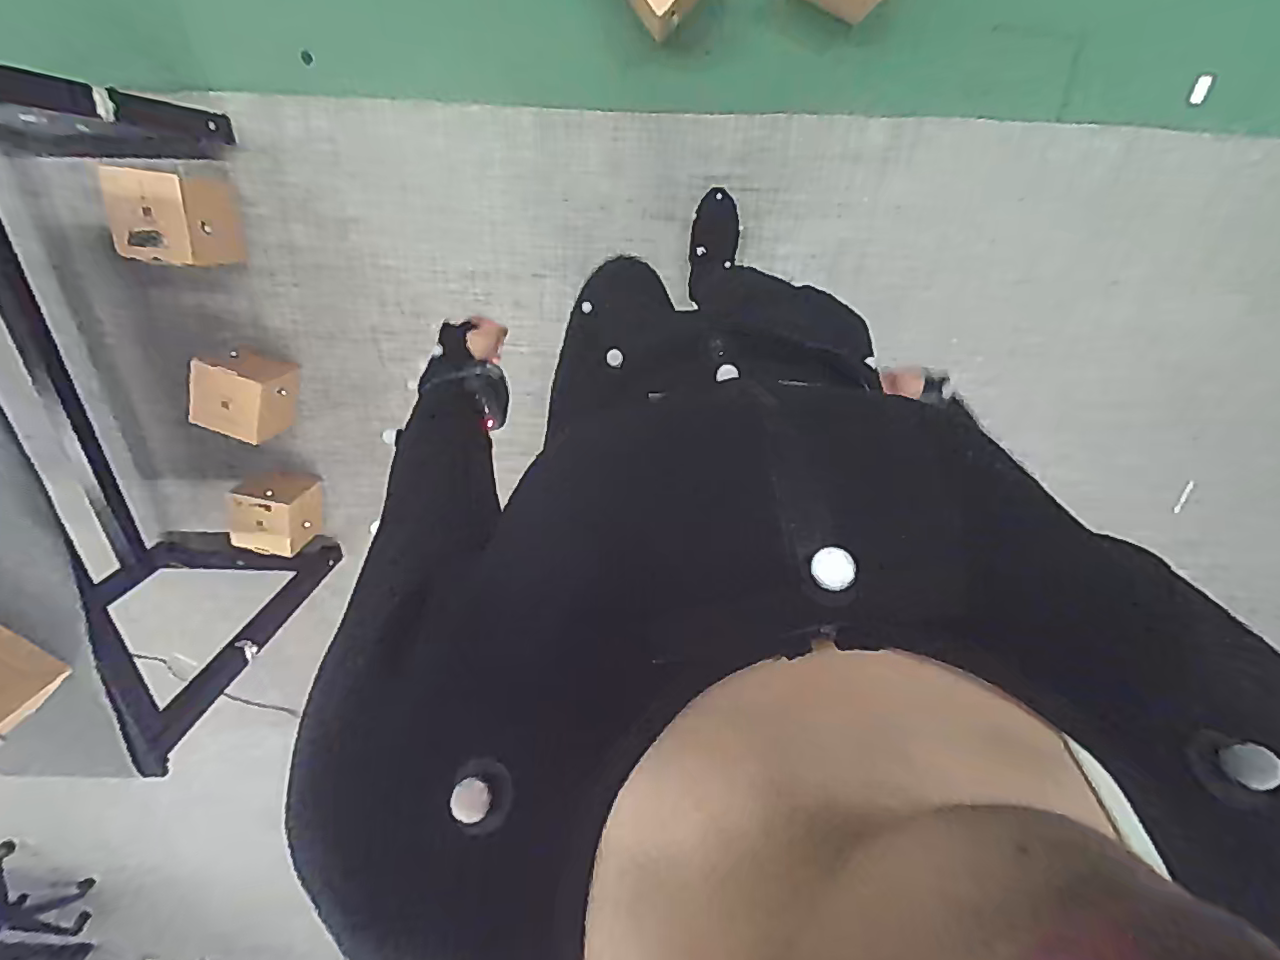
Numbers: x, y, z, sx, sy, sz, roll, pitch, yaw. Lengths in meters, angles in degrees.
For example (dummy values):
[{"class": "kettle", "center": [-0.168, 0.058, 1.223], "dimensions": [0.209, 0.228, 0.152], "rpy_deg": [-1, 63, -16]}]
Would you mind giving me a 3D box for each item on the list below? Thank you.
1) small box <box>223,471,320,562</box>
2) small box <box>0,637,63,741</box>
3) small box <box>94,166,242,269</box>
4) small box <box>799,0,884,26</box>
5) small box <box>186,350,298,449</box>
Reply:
[{"class": "small box", "center": [-1.028, 0.100, 1.525], "dimensions": [0.168, 0.176, 0.179], "rpy_deg": [13, 116, -6]}, {"class": "small box", "center": [-1.085, 0.356, 0.841], "dimensions": [0.168, 0.176, 0.179], "rpy_deg": [-37, 109, 17]}, {"class": "small box", "center": [-1.026, -0.577, 1.197], "dimensions": [0.168, 0.176, 0.179], "rpy_deg": [7, 115, -3]}, {"class": "small box", "center": [0.387, -0.974, 0.981], "dimensions": [0.179, 0.176, 0.168], "rpy_deg": [19, 115, -9]}, {"class": "small box", "center": [-1.002, -0.212, 1.373], "dimensions": [0.168, 0.176, 0.179], "rpy_deg": [21, 116, -8]}]
